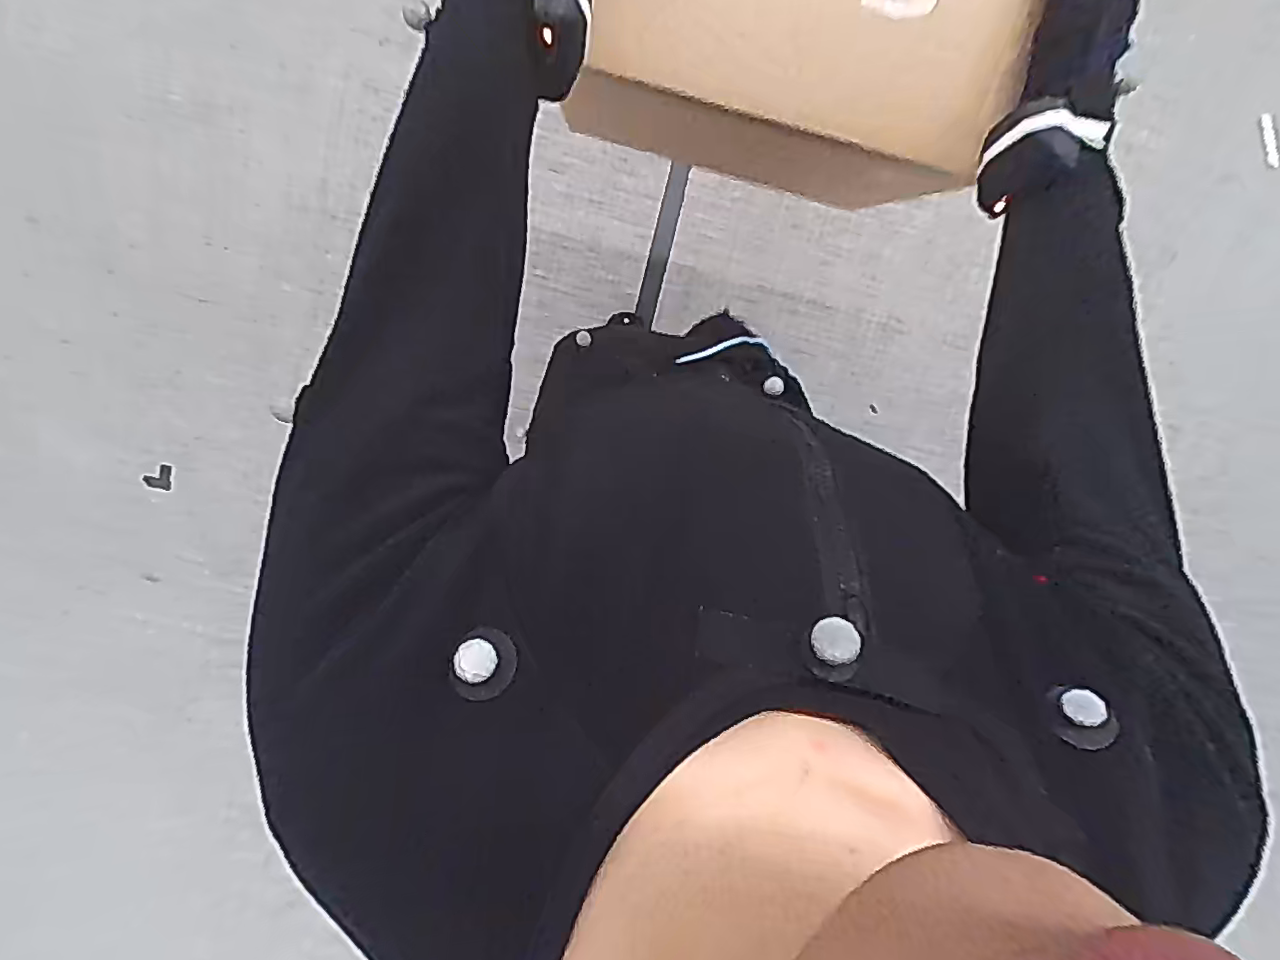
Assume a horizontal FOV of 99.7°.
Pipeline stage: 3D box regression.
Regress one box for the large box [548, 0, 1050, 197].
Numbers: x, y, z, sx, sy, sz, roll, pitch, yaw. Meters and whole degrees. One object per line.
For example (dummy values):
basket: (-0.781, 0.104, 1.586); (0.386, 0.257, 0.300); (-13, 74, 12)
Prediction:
large box: (0.141, -0.510, 0.544); (0.408, 0.320, 0.320); (11, 113, -8)
